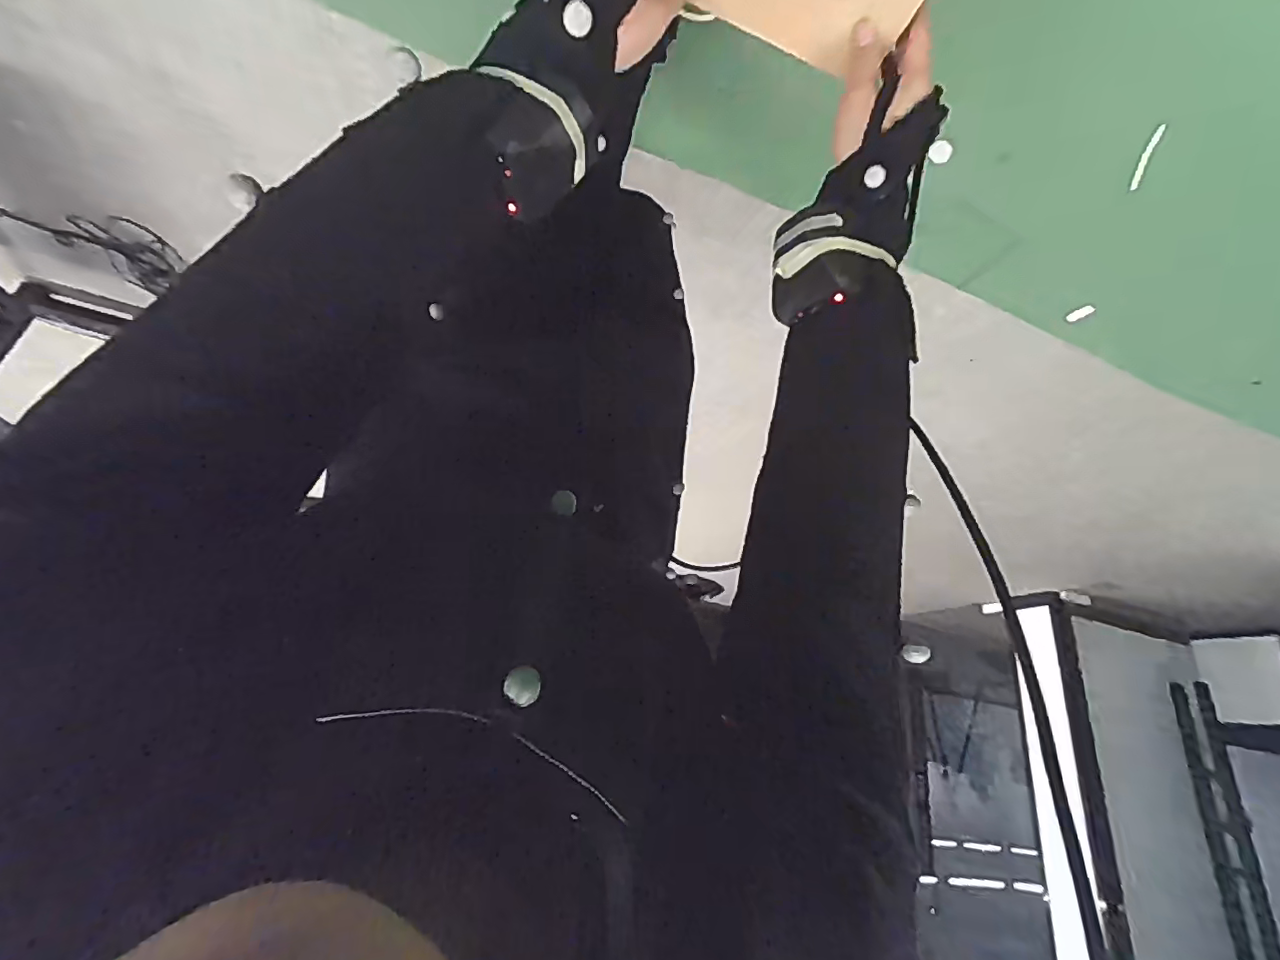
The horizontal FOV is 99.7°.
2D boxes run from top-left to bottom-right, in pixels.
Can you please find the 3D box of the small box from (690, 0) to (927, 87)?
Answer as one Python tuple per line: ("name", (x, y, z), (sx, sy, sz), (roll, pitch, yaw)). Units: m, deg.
("small box", (0.134, -0.422, 0.349), (0.168, 0.176, 0.179), (16, 156, -13))
